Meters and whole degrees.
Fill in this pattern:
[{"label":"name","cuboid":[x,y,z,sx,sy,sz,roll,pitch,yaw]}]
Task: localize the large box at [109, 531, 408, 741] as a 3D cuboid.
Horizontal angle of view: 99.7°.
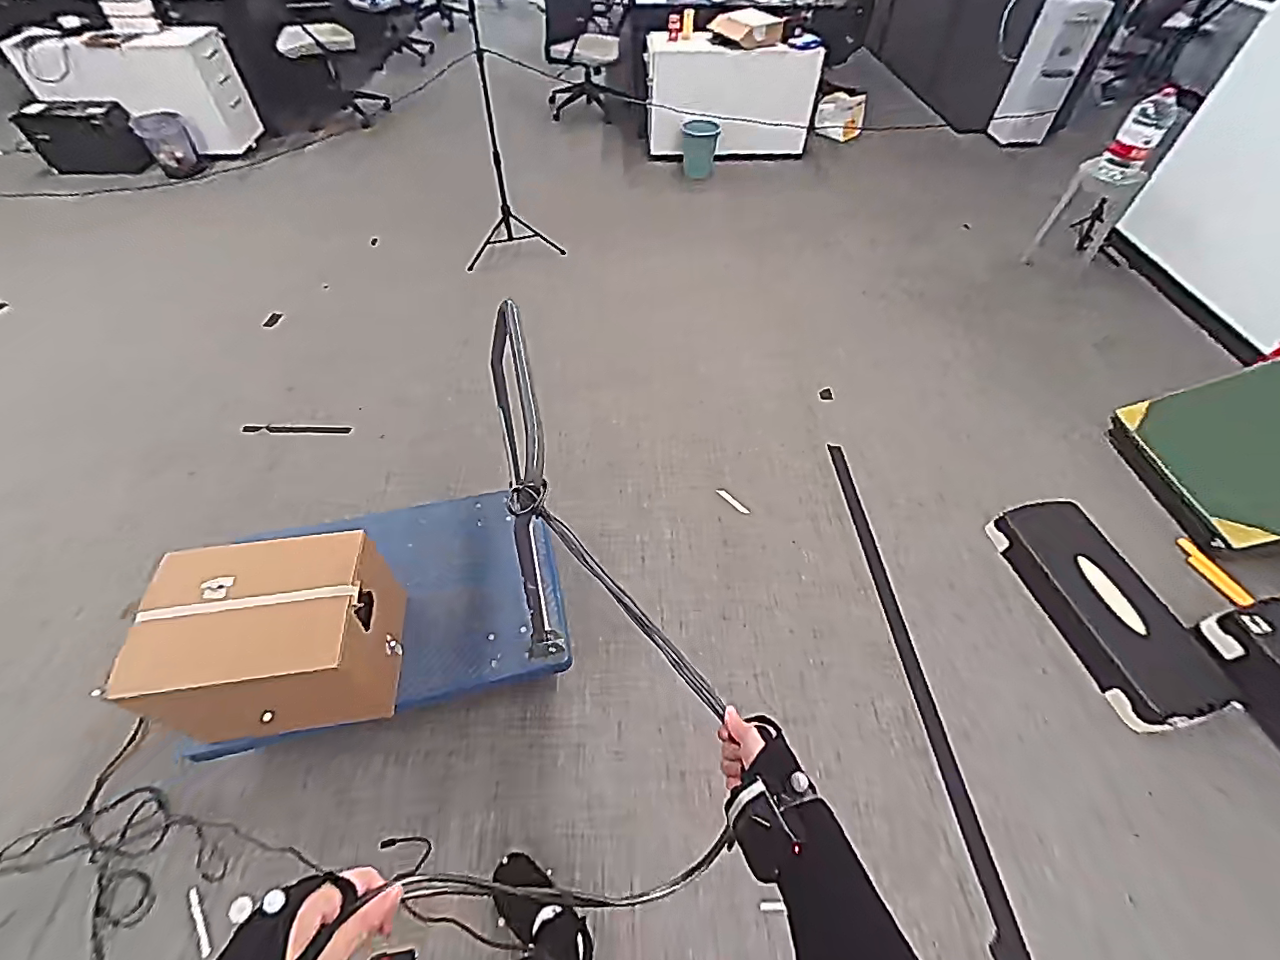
[{"label":"large box","cuboid":[-0.769,0.344,1.183,0.408,0.320,0.320,-7,51,-6]}]
